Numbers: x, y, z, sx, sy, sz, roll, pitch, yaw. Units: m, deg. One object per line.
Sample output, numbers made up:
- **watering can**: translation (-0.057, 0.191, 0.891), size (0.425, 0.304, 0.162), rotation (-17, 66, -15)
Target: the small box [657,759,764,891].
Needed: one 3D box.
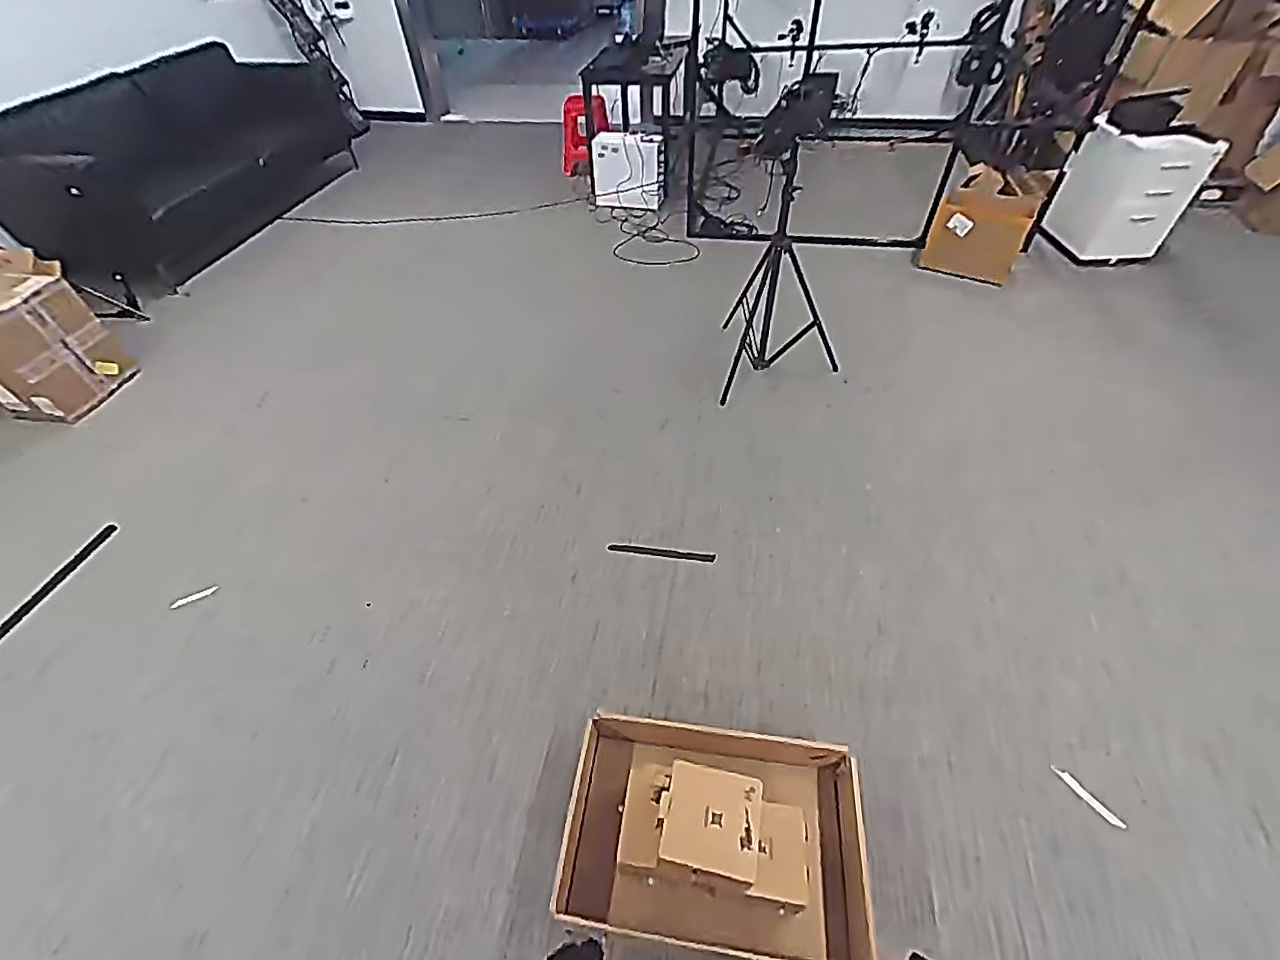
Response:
- **small box**: translation (0.135, 0.667, 1.041), size (0.179, 0.176, 0.168), rotation (9, 48, 10)

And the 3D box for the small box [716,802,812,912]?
- **small box**: translation (0.257, 0.793, 1.142), size (0.179, 0.176, 0.168), rotation (4, 47, 9)
